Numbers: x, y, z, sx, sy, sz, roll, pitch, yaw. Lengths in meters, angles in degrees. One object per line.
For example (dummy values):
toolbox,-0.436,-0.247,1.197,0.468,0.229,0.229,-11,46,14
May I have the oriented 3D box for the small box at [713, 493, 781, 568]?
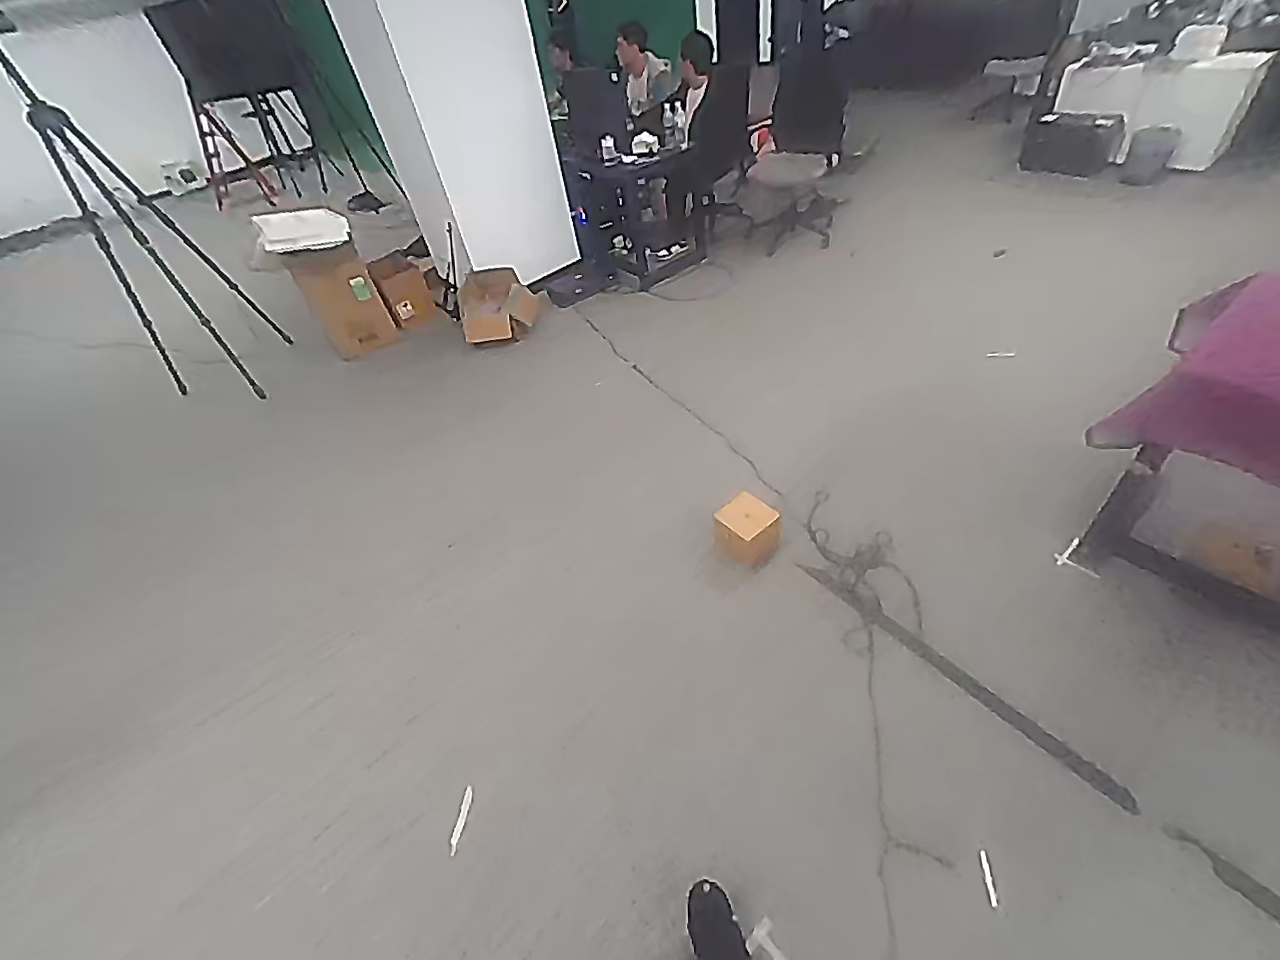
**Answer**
small box,0.386,0.184,1.954,0.168,0.176,0.179,-34,48,-20
